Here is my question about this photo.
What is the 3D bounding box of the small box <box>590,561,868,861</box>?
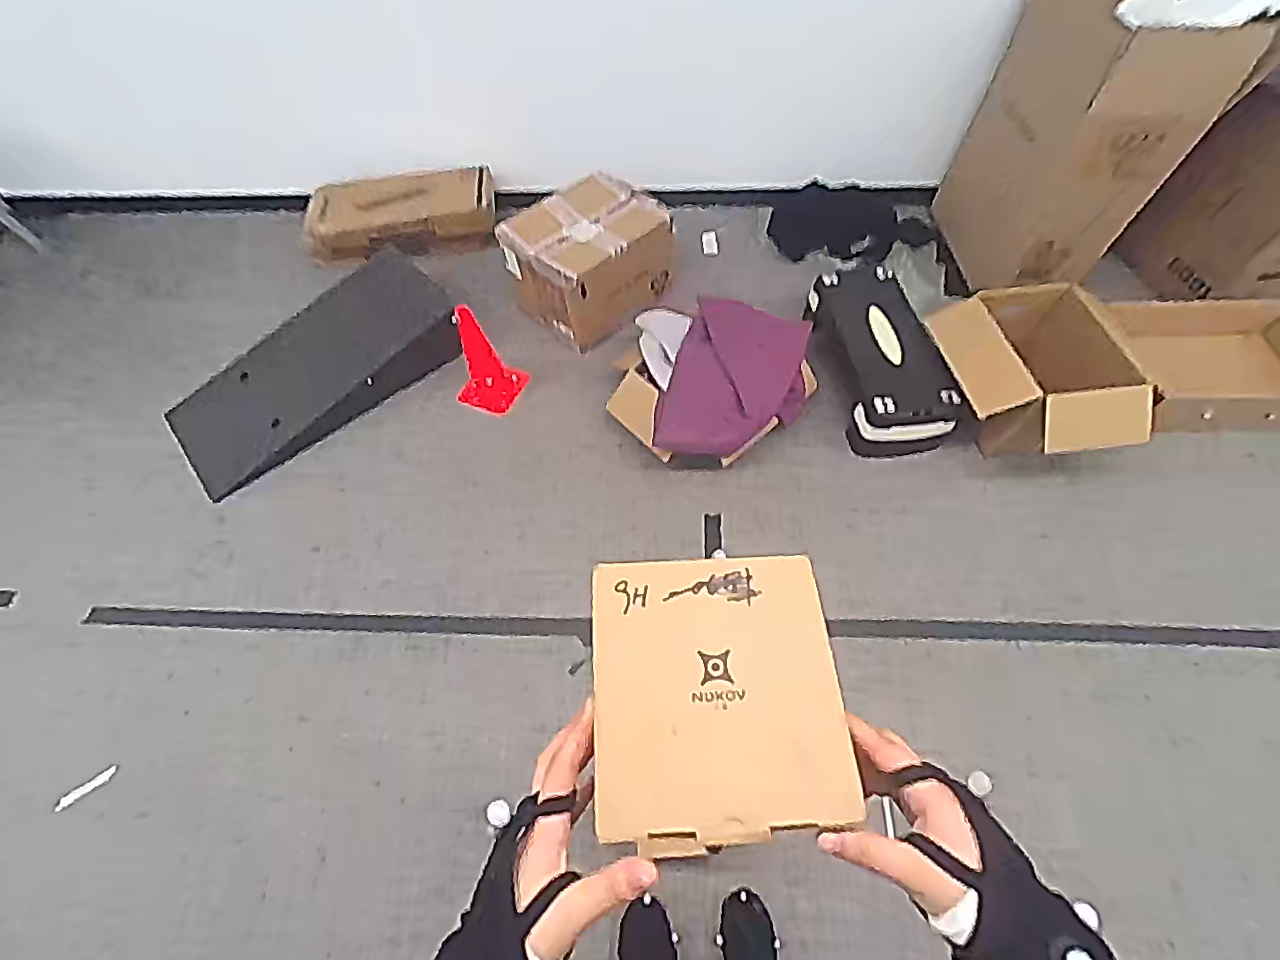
[{"bbox_3d":[0.050,0.177,0.424,0.168,0.176,0.179,-3,61,-2],"label":"small box"}]
